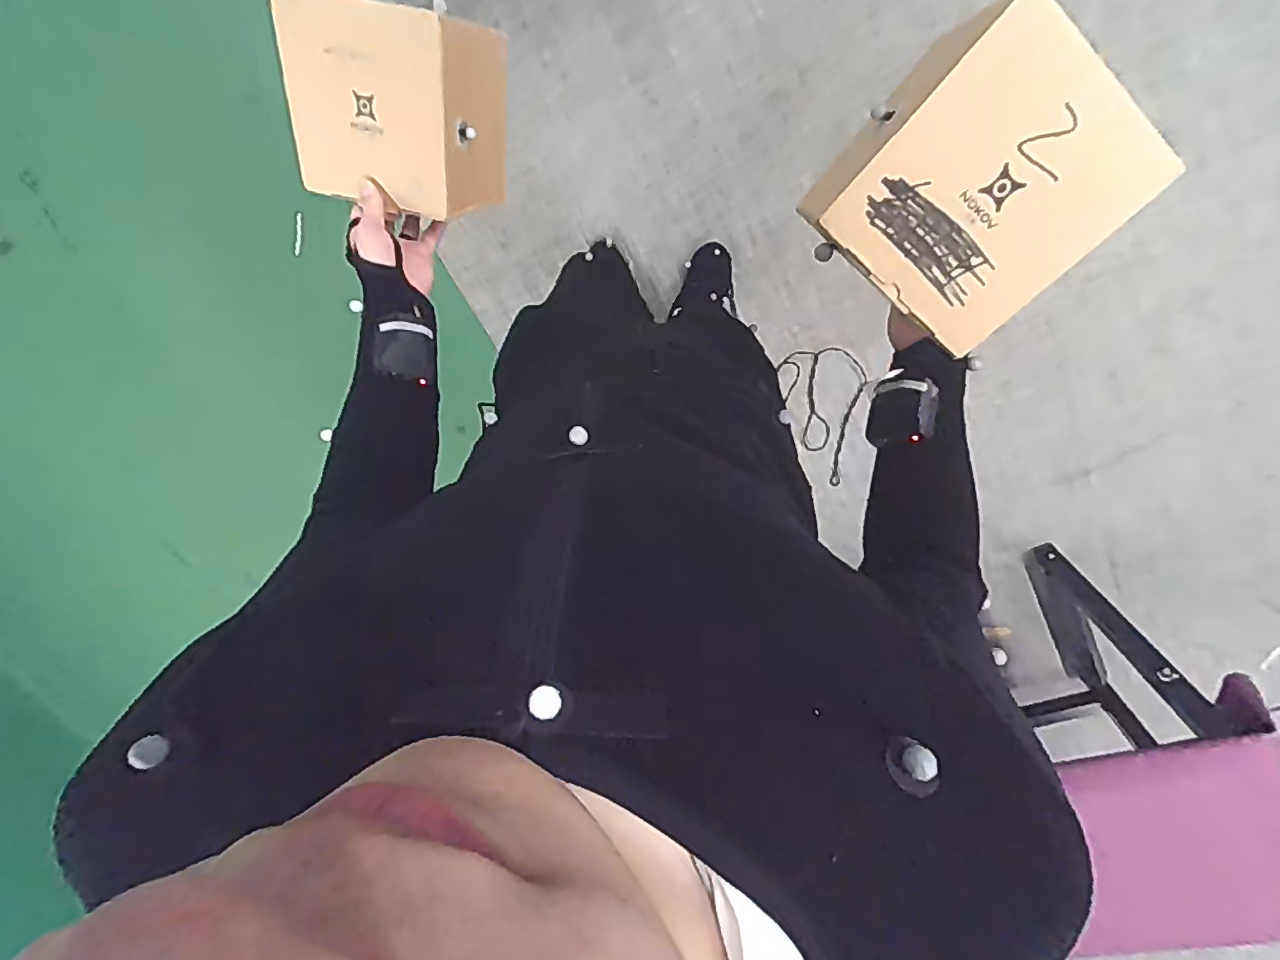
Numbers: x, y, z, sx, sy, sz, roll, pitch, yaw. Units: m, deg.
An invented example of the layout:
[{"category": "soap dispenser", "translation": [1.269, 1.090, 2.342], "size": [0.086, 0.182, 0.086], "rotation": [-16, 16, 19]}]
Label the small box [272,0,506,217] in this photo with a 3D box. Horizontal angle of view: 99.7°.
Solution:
[{"category": "small box", "translation": [-0.256, -0.415, 0.595], "size": [0.168, 0.176, 0.179], "rotation": [14, 126, 2]}]
